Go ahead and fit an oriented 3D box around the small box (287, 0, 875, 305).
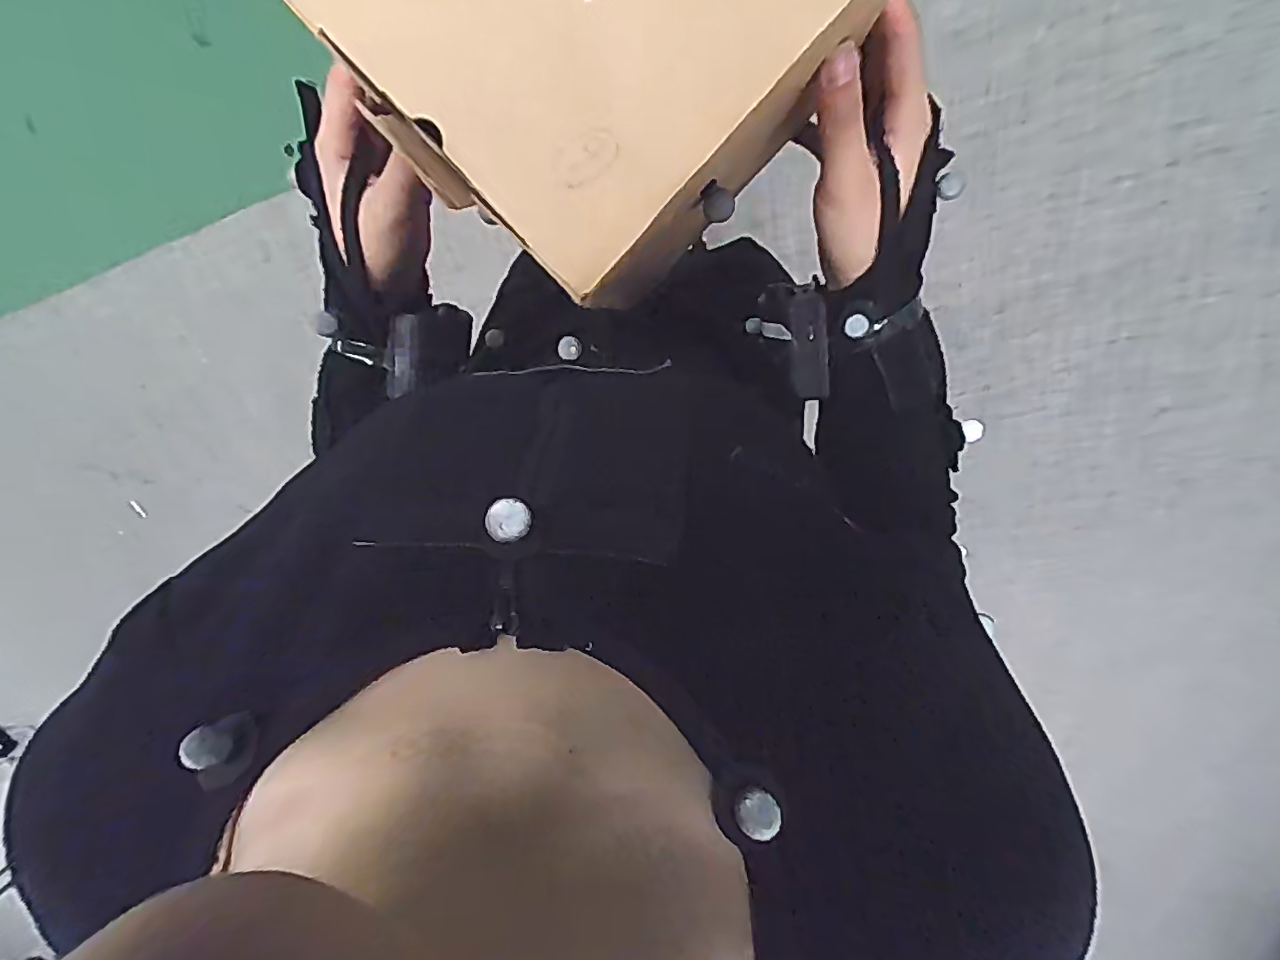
[{"bbox_3d":[-0.011,-0.206,0.267,0.168,0.176,0.179,44,107,-8],"label":"small box"}]
